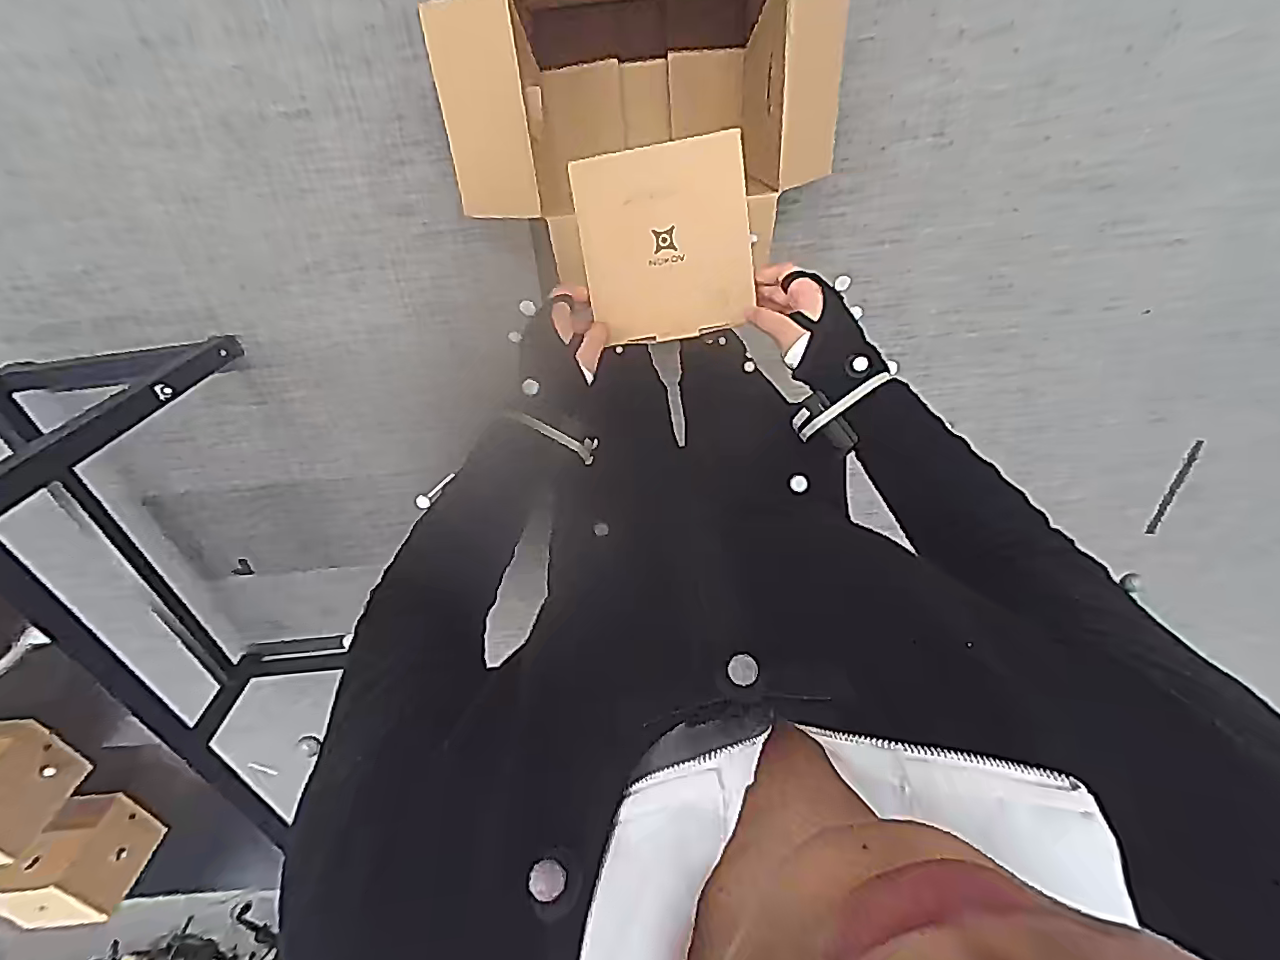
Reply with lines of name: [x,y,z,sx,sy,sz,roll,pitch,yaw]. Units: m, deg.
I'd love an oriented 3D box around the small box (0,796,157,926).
small box: [-1.131,0.757,1.083,0.179,0.176,0.168,-5,124,1]

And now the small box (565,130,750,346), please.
small box: [0.025,-0.254,0.607,0.168,0.176,0.179,-8,104,6]

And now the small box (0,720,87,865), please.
small box: [-1.145,0.539,0.932,0.179,0.176,0.168,-5,125,1]
